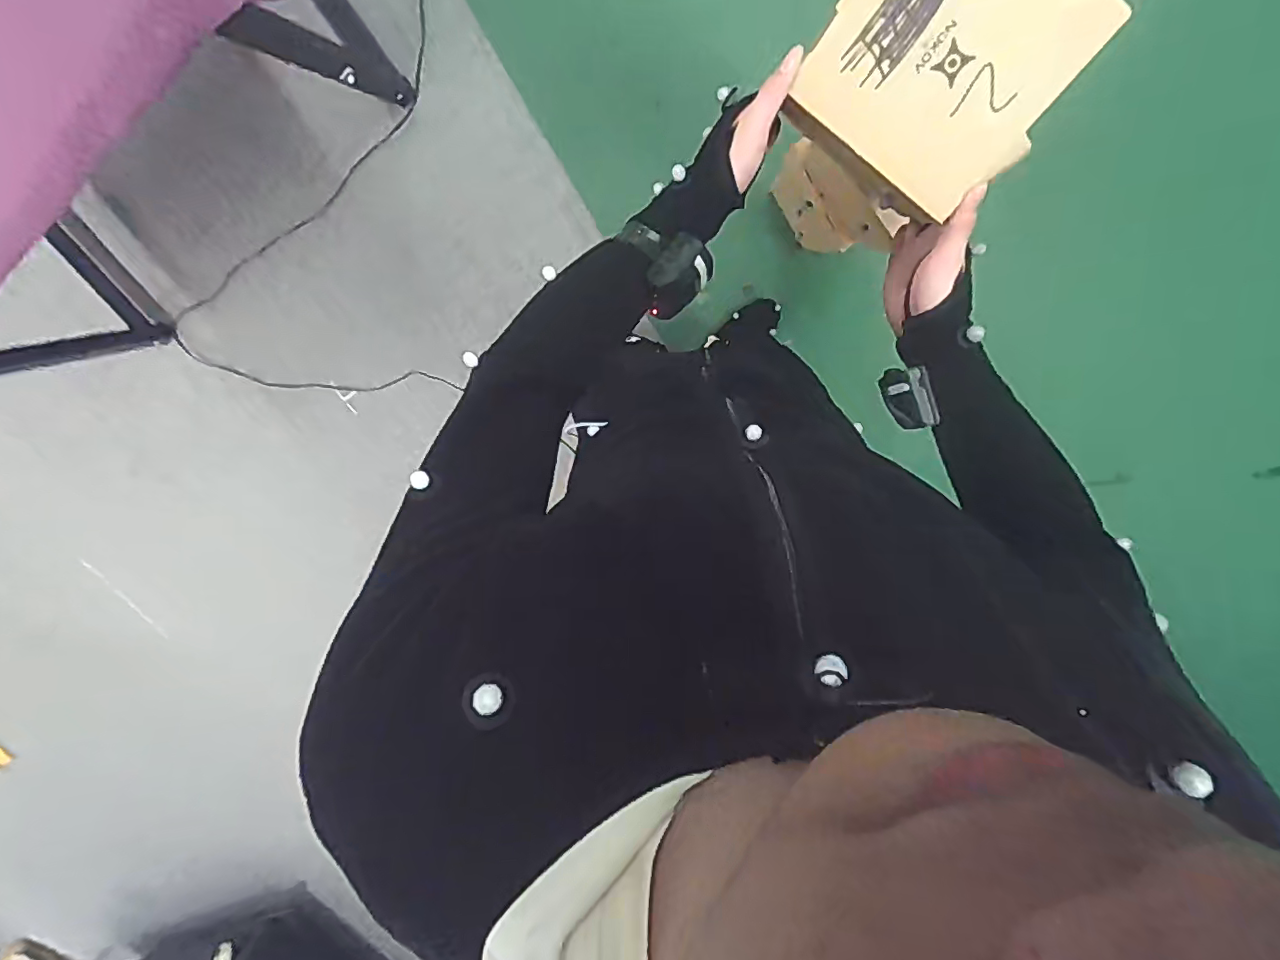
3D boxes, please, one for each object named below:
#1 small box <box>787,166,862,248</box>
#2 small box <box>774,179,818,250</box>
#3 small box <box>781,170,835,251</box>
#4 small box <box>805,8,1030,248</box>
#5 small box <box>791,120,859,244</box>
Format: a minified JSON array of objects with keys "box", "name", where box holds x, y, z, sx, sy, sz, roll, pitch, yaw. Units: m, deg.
[{"box":[0.385,-0.544,0.983,0.168,0.176,0.179,-31,106,20],"name":"small box"},{"box":[0.434,-0.672,1.278,0.168,0.176,0.179,-31,106,19],"name":"small box"},{"box":[0.412,-0.607,1.132,0.168,0.176,0.179,-29,106,19],"name":"small box"},{"box":[0.334,-0.422,0.684,0.168,0.176,0.179,-36,103,20],"name":"small box"},{"box":[0.345,-0.486,0.835,0.179,0.176,0.168,-27,107,20],"name":"small box"}]
